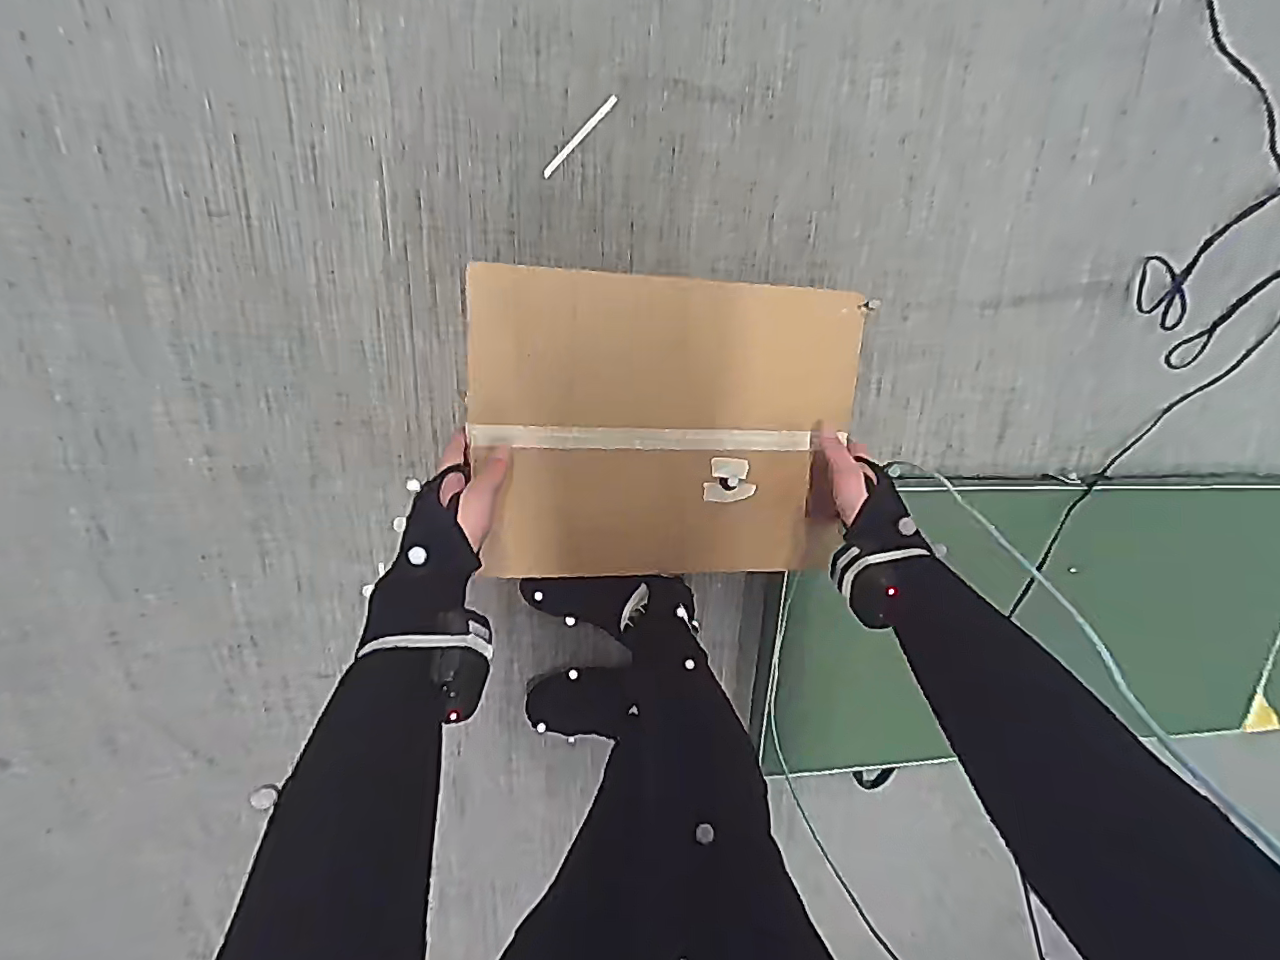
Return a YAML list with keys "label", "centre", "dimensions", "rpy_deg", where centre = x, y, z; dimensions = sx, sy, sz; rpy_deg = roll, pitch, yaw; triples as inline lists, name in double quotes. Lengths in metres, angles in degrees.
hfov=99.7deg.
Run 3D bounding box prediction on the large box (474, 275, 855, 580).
- label: "large box"
  centre: [0.004, -0.078, 0.719]
  dimensions: [0.408, 0.320, 0.320]
  rpy_deg: [0, 104, -12]
